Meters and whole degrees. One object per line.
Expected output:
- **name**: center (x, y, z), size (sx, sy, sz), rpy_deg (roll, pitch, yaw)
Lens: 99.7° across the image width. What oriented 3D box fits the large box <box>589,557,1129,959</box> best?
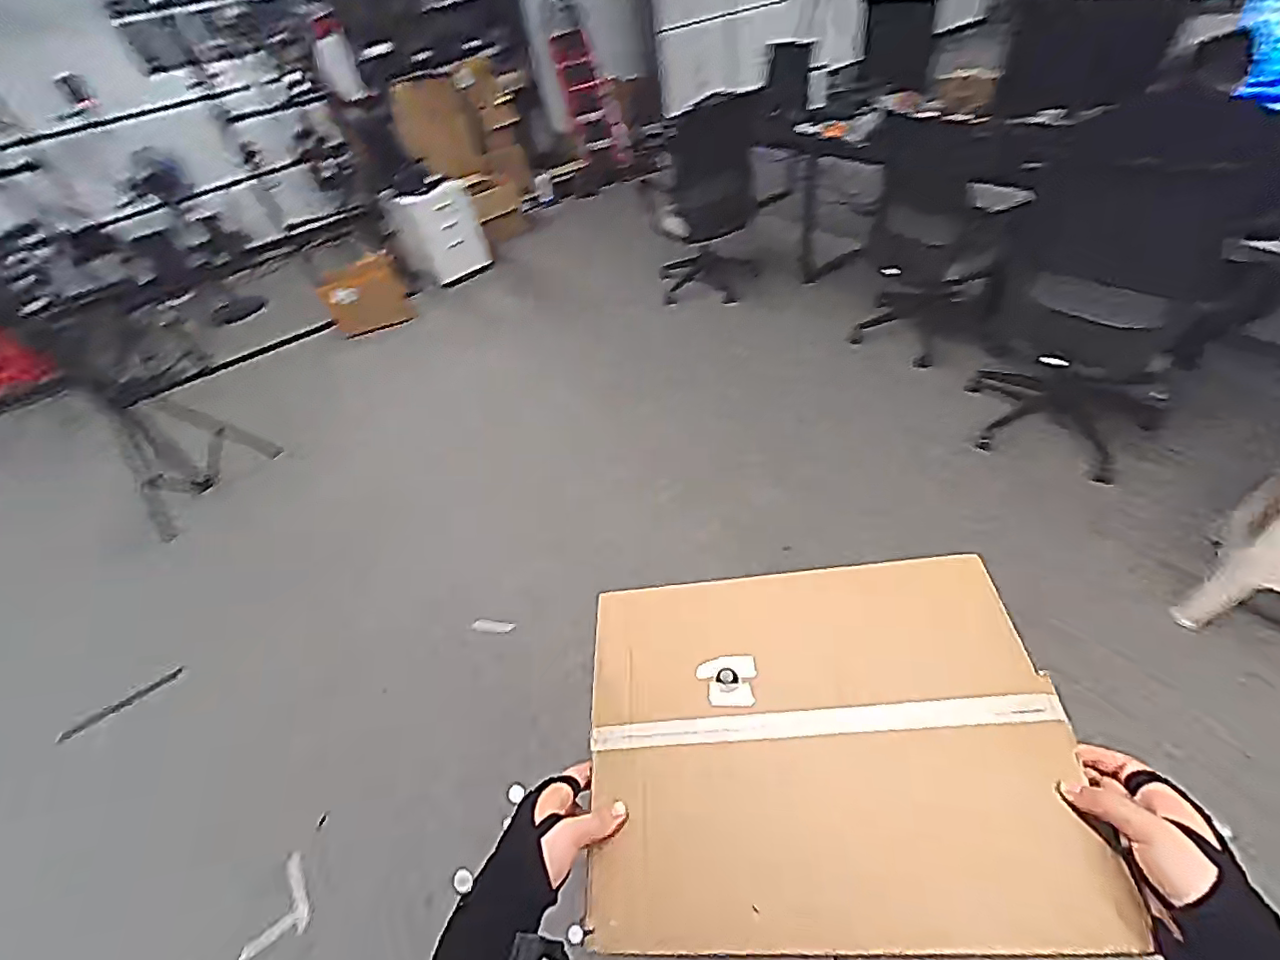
- **large box**: center (0.181, 0.323, 0.611), size (0.408, 0.320, 0.320), rpy_deg (-10, 49, 9)
